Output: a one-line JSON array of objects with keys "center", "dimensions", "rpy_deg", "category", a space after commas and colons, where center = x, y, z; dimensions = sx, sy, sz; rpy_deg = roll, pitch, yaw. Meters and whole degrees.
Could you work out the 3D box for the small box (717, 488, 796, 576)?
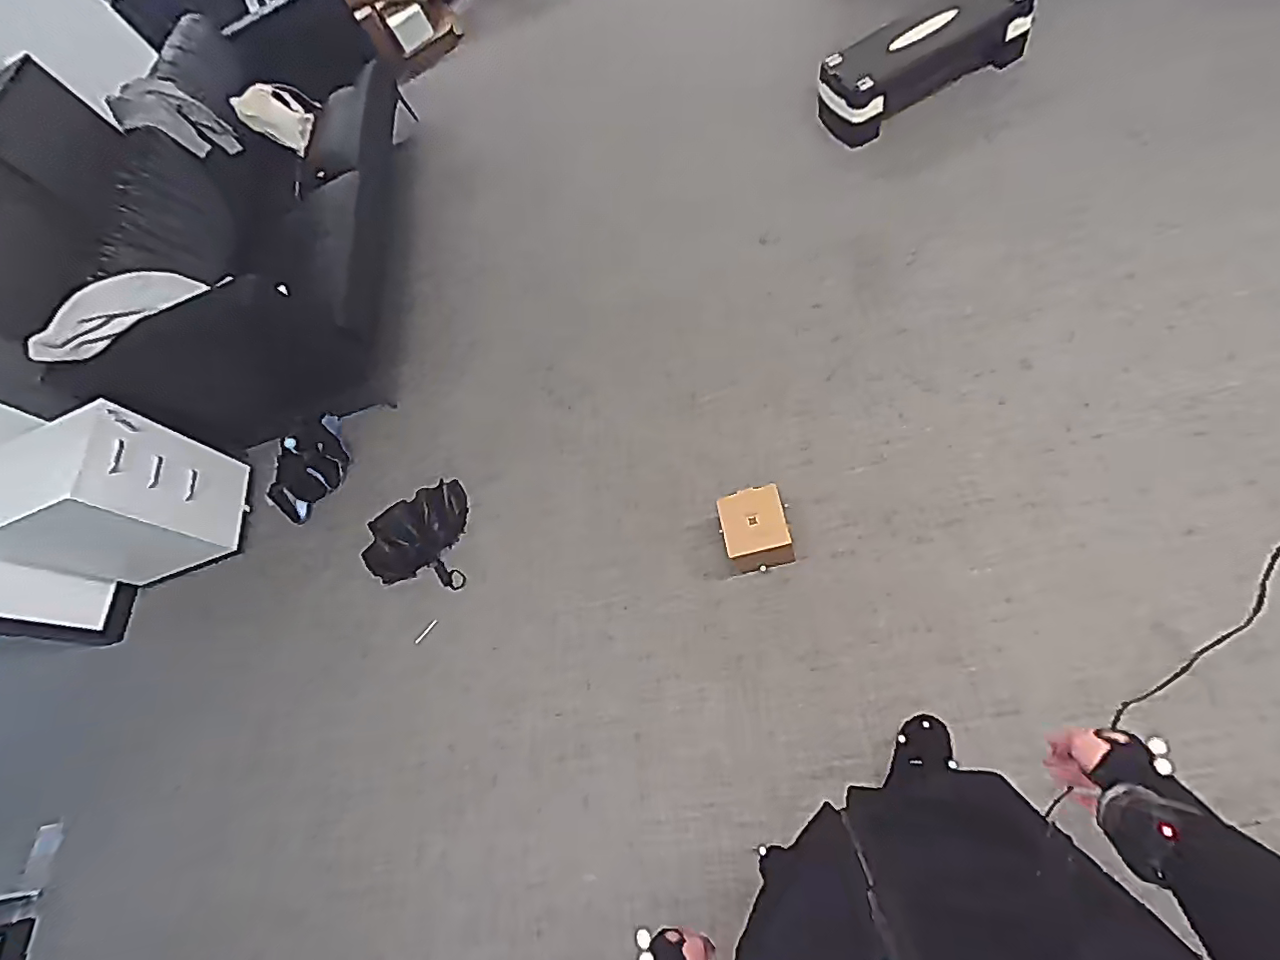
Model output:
[{"center": [0.322, 0.148, 1.484], "dimensions": [0.168, 0.176, 0.179], "rpy_deg": [-17, 62, 14], "category": "small box"}]
